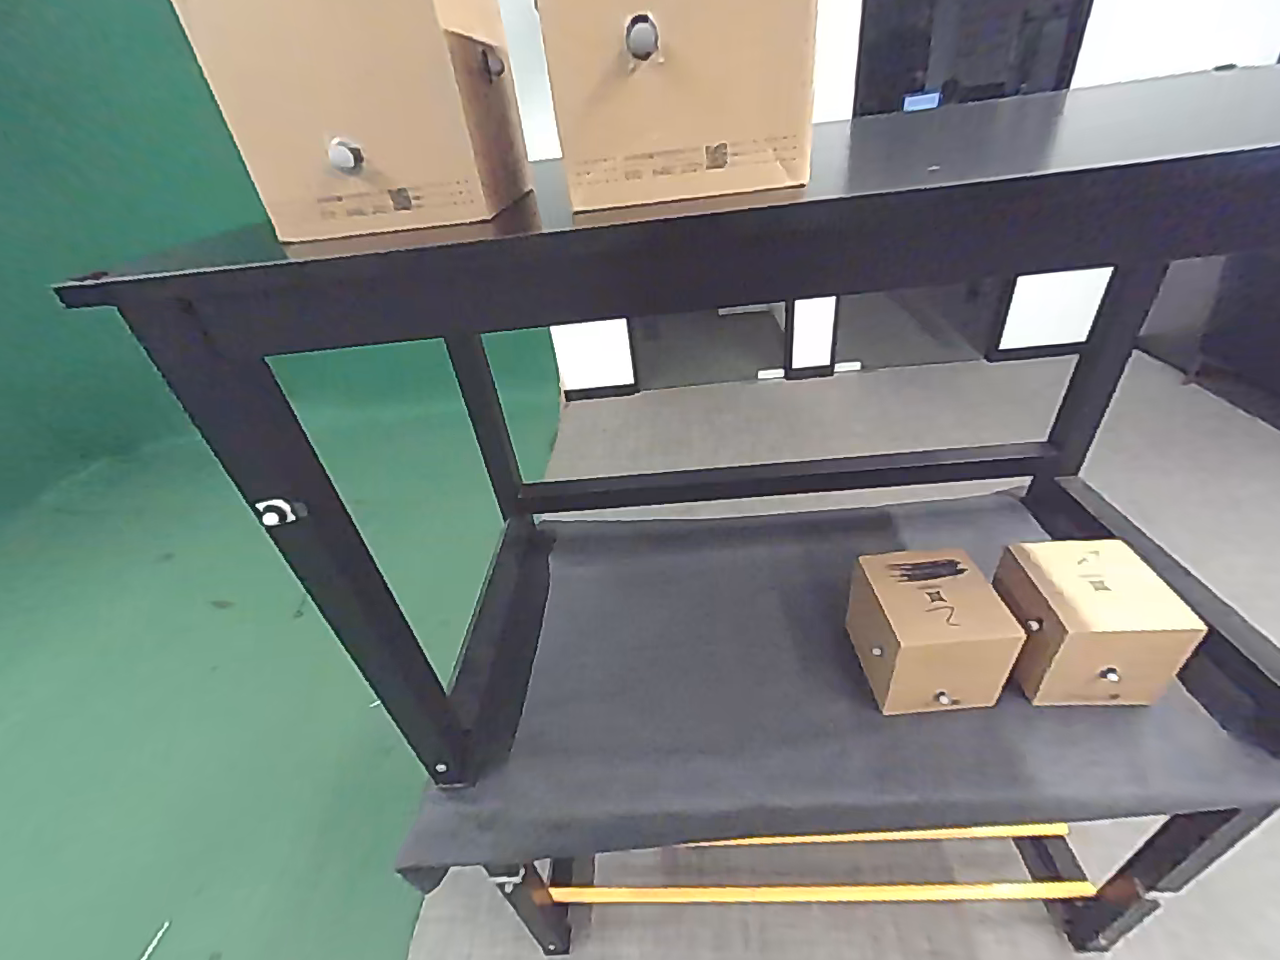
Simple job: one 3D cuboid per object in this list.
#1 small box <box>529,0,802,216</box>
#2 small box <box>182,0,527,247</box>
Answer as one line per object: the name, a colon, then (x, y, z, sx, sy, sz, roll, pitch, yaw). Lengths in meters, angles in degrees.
small box: (0.024, -0.304, 0.403, 0.168, 0.176, 0.179, -4, 34, 6)
small box: (-0.199, -0.297, 0.434, 0.168, 0.176, 0.179, -4, 36, 6)
